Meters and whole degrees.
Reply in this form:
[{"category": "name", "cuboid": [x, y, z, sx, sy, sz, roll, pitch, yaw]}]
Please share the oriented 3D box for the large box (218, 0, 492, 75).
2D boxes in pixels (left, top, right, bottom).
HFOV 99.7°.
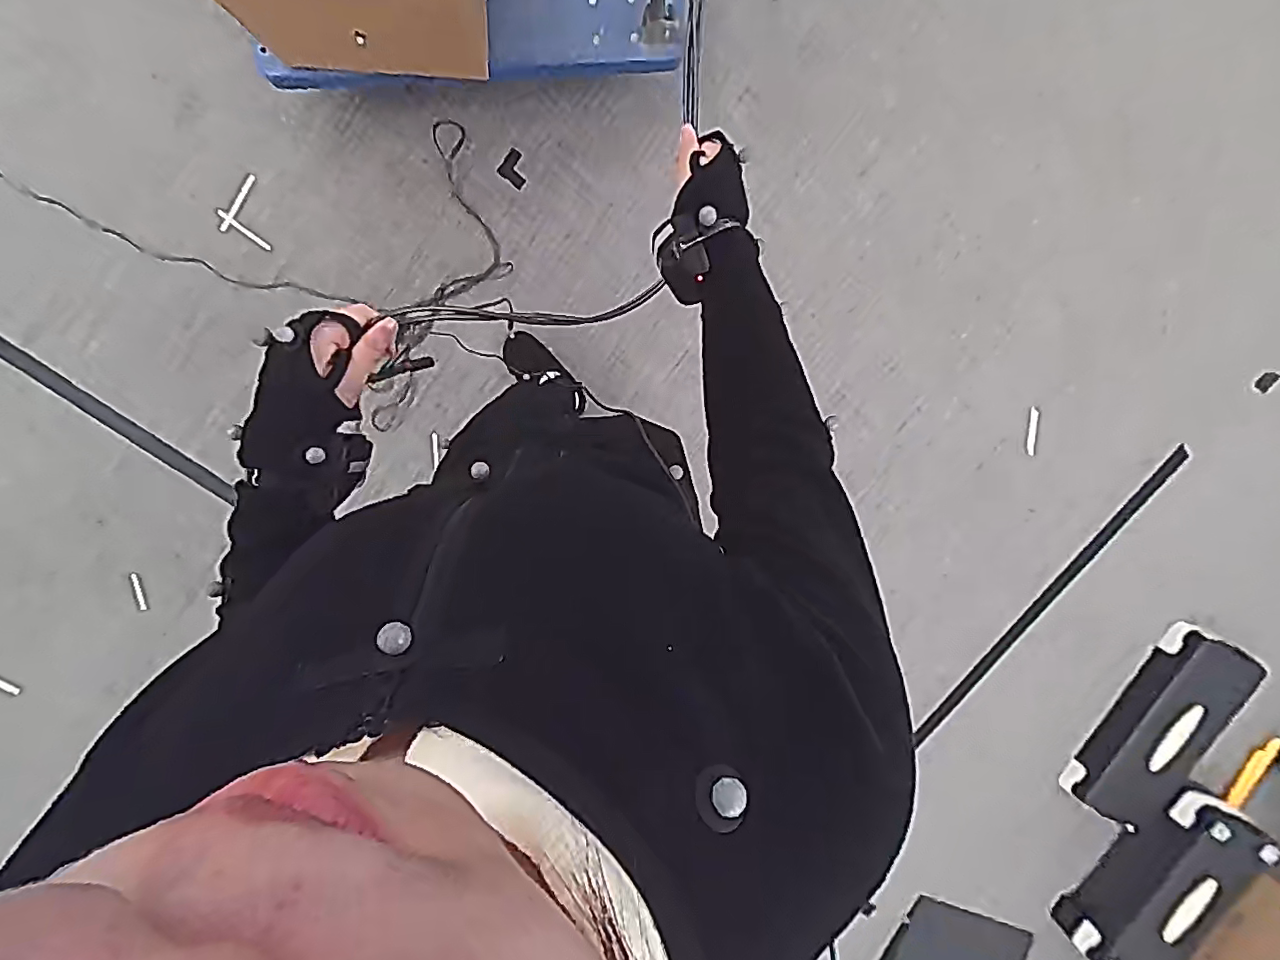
[{"category": "large box", "cuboid": [-0.490, -0.939, 0.917, 0.408, 0.320, 0.320, 1, 102, -4]}]
